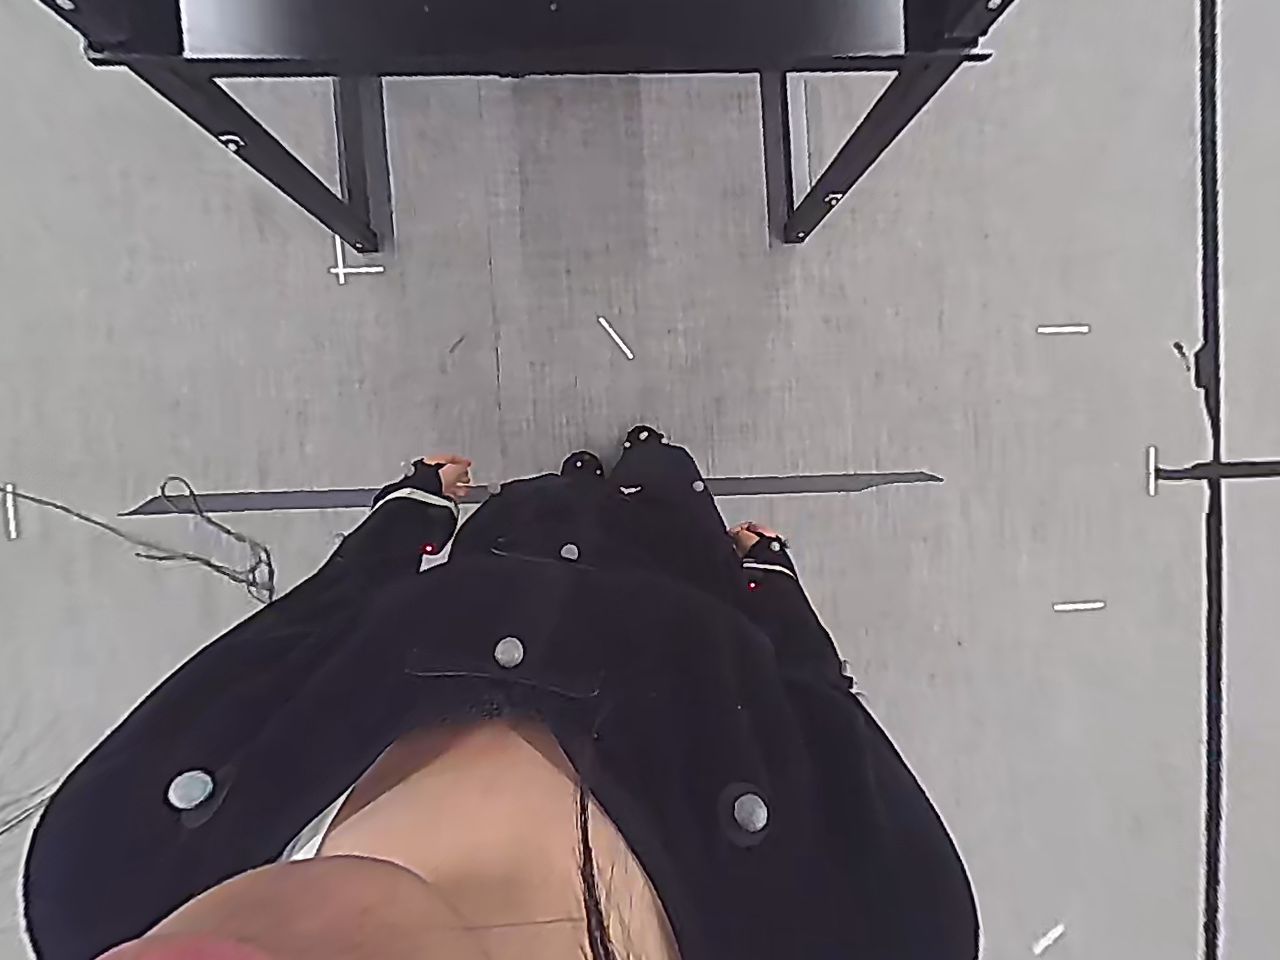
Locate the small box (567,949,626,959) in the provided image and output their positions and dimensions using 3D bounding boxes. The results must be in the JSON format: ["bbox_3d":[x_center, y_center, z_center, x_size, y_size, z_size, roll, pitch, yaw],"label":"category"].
[{"bbox_3d":[-0.114,1.413,1.454,0.168,0.176,0.179,-5,94,-3],"label":"small box"}]
